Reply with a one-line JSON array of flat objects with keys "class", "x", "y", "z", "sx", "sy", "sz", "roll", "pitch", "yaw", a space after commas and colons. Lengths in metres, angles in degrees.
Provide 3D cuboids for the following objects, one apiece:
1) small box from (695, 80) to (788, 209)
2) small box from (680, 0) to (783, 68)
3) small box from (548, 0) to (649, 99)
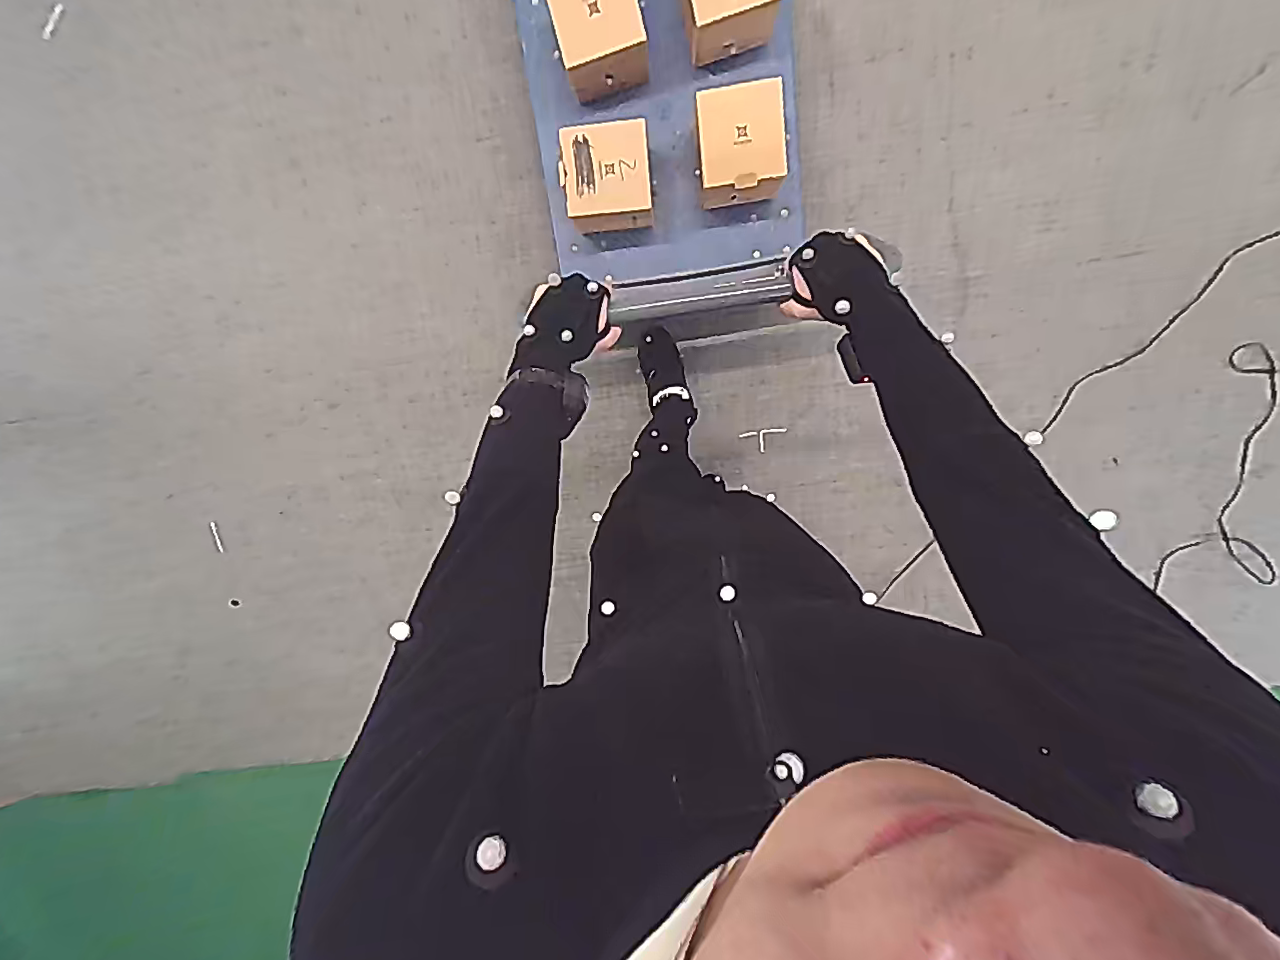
[{"class": "small box", "x": 0.207, "y": -0.692, "z": 1.134, "sx": 0.168, "sy": 0.176, "sz": 0.179, "roll": -7, "pitch": 104, "yaw": 5}, {"class": "small box", "x": 0.170, "y": -0.967, "z": 1.065, "sx": 0.168, "sy": 0.176, "sz": 0.179, "roll": -13, "pitch": 104, "yaw": 8}, {"class": "small box", "x": -0.081, "y": -0.910, "z": 1.094, "sx": 0.168, "sy": 0.176, "sz": 0.179, "roll": -15, "pitch": 103, "yaw": 6}]
